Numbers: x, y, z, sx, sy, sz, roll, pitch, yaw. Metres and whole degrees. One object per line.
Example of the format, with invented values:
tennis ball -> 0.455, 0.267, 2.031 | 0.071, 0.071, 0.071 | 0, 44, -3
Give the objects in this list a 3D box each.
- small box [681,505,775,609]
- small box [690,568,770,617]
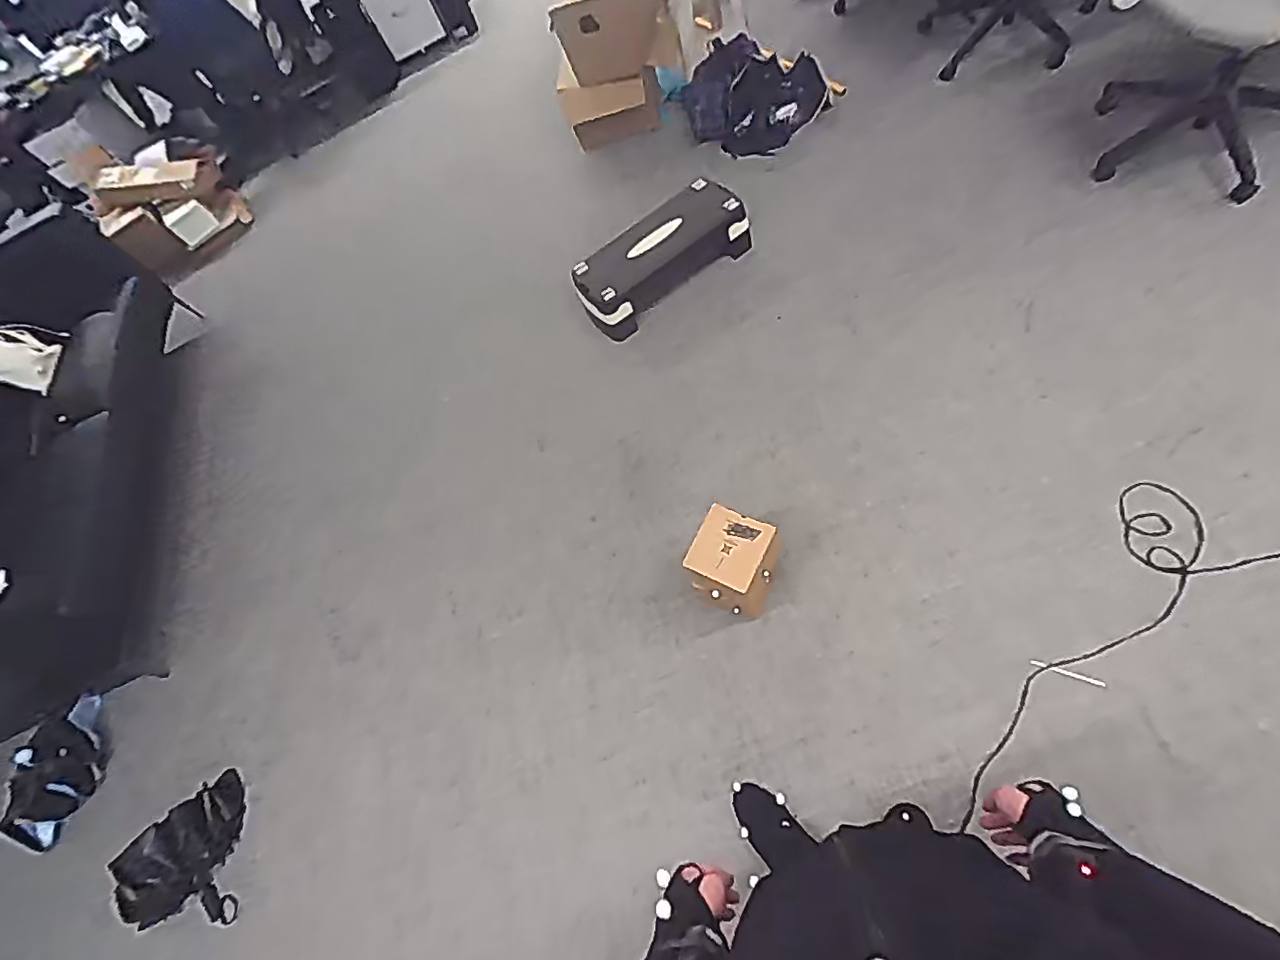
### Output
small box -> 0.225, 0.193, 1.336 | 0.168, 0.176, 0.179 | 22, 73, 26
small box -> 0.254, 0.259, 1.485 | 0.168, 0.176, 0.179 | 14, 68, 23
